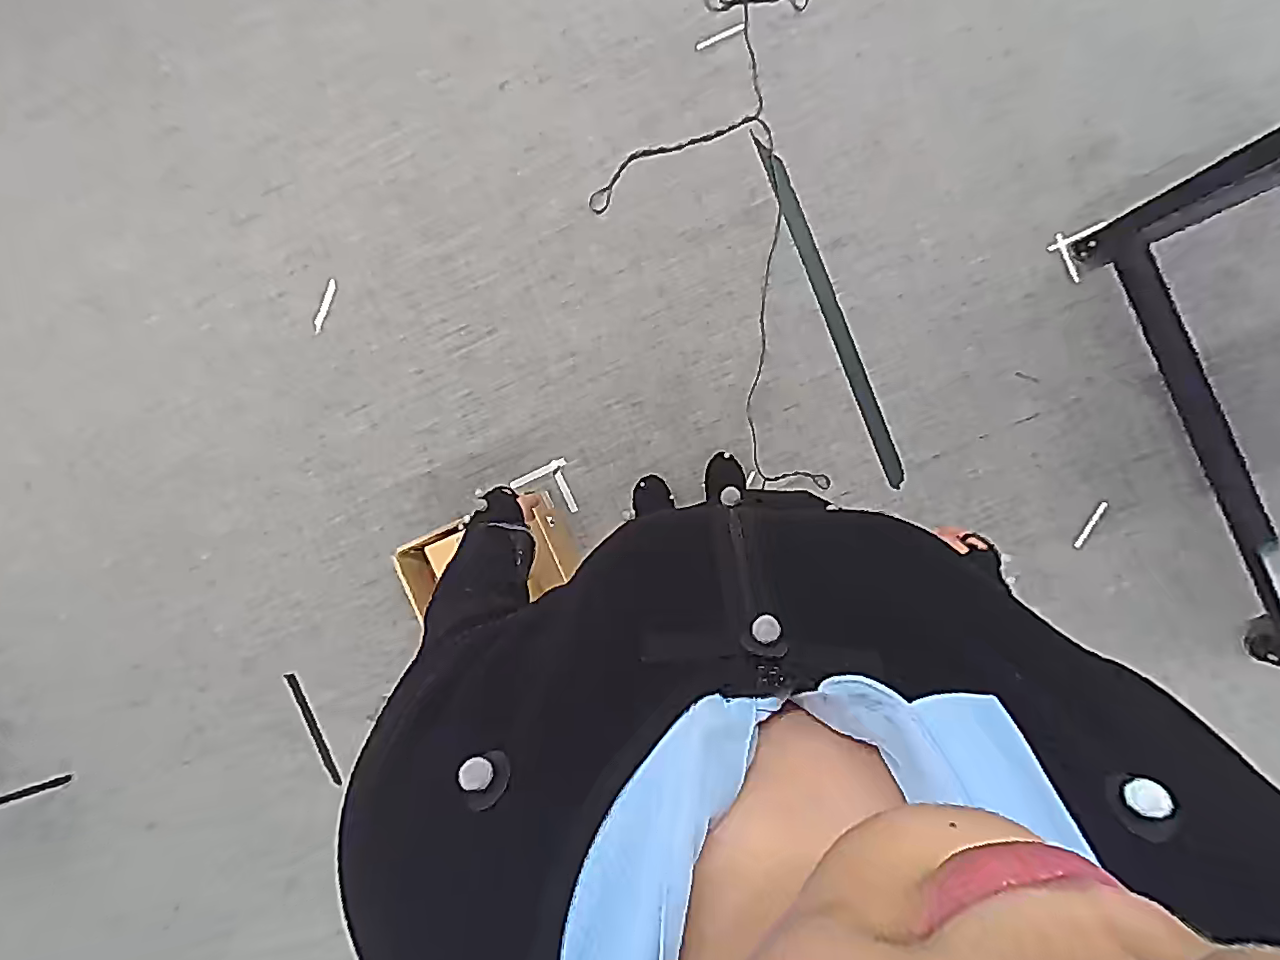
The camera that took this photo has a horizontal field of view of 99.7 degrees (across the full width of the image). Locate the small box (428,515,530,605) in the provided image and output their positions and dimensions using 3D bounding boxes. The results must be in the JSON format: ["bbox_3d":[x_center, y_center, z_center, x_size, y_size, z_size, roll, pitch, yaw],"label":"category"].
[{"bbox_3d":[-0.416,0.204,1.425,0.179,0.176,0.168,-25,92,4],"label":"small box"}]
